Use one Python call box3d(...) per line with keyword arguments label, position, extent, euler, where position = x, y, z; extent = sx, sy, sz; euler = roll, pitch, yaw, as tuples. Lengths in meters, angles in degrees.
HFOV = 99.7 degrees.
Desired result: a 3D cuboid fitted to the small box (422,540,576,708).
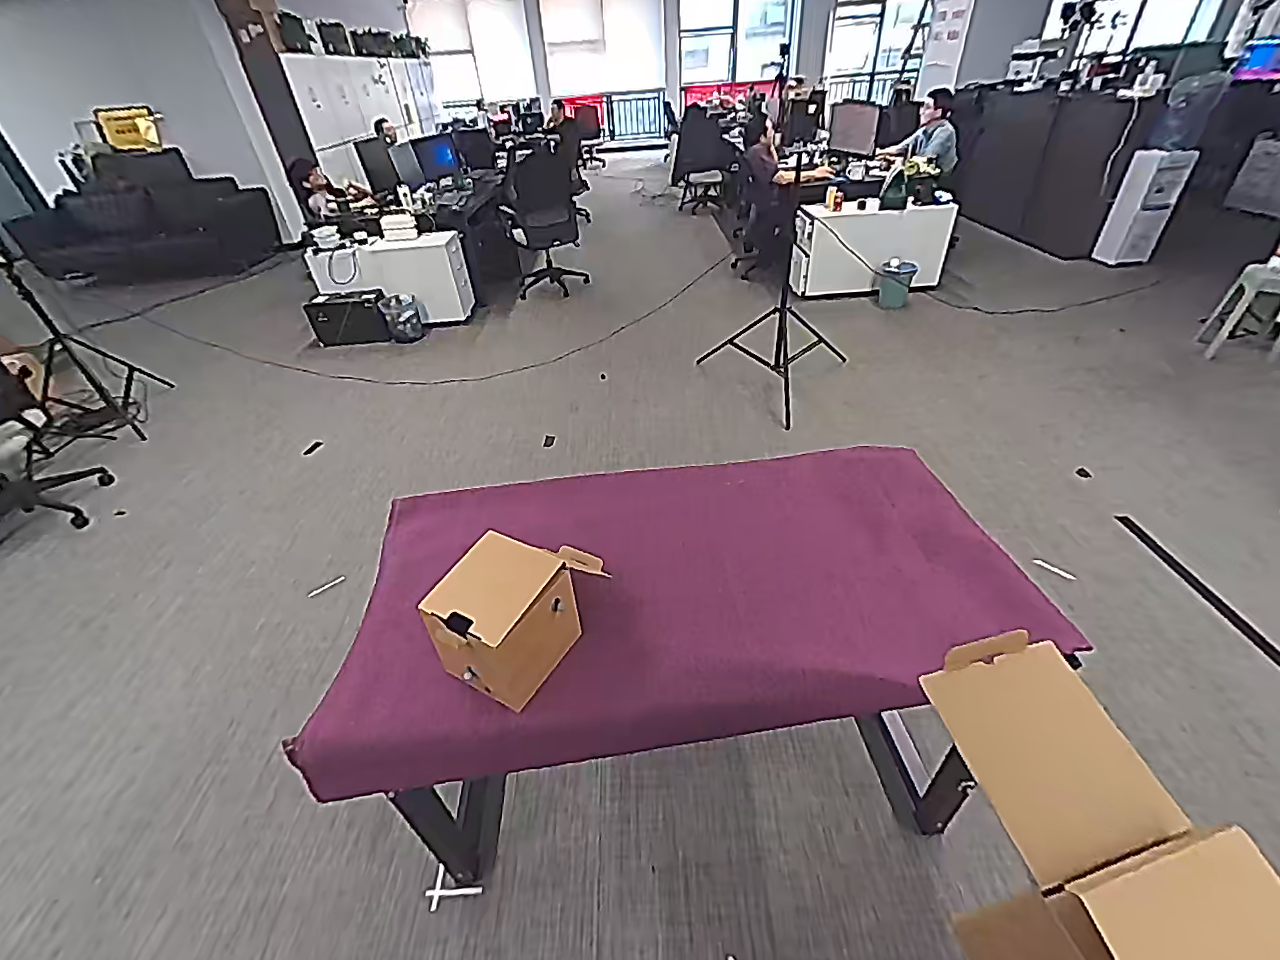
box3d(label="small box", position=(-0.221, 0.235, 0.899), extent=(0.168, 0.176, 0.179), euler=(16, 41, 27))
